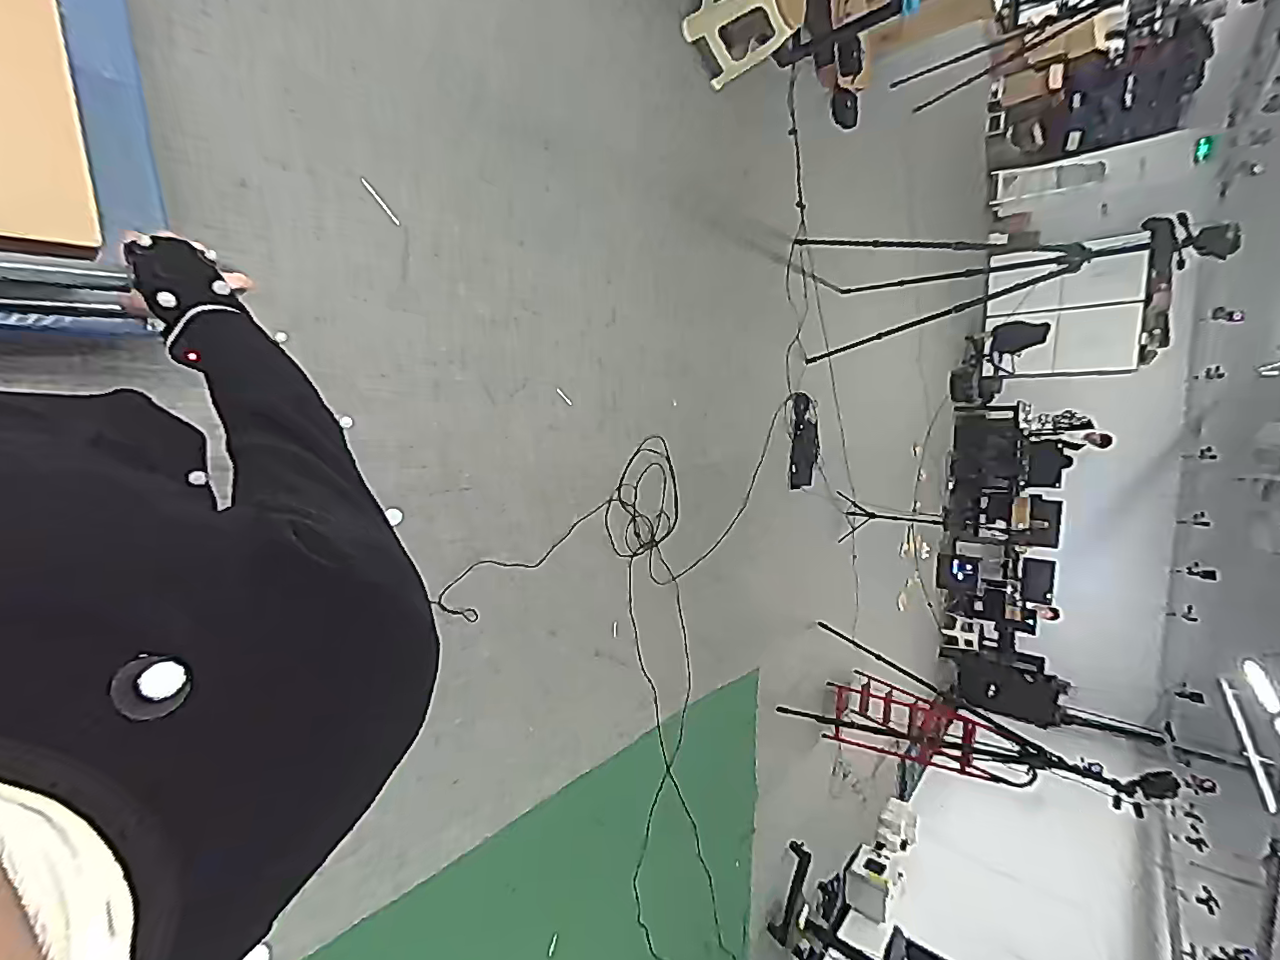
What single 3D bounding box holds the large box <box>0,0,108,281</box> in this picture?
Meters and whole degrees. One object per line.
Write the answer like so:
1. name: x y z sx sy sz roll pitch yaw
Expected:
1. large box: -1.050 -0.538 0.796 0.320 0.320 0.408 -13 103 -47
